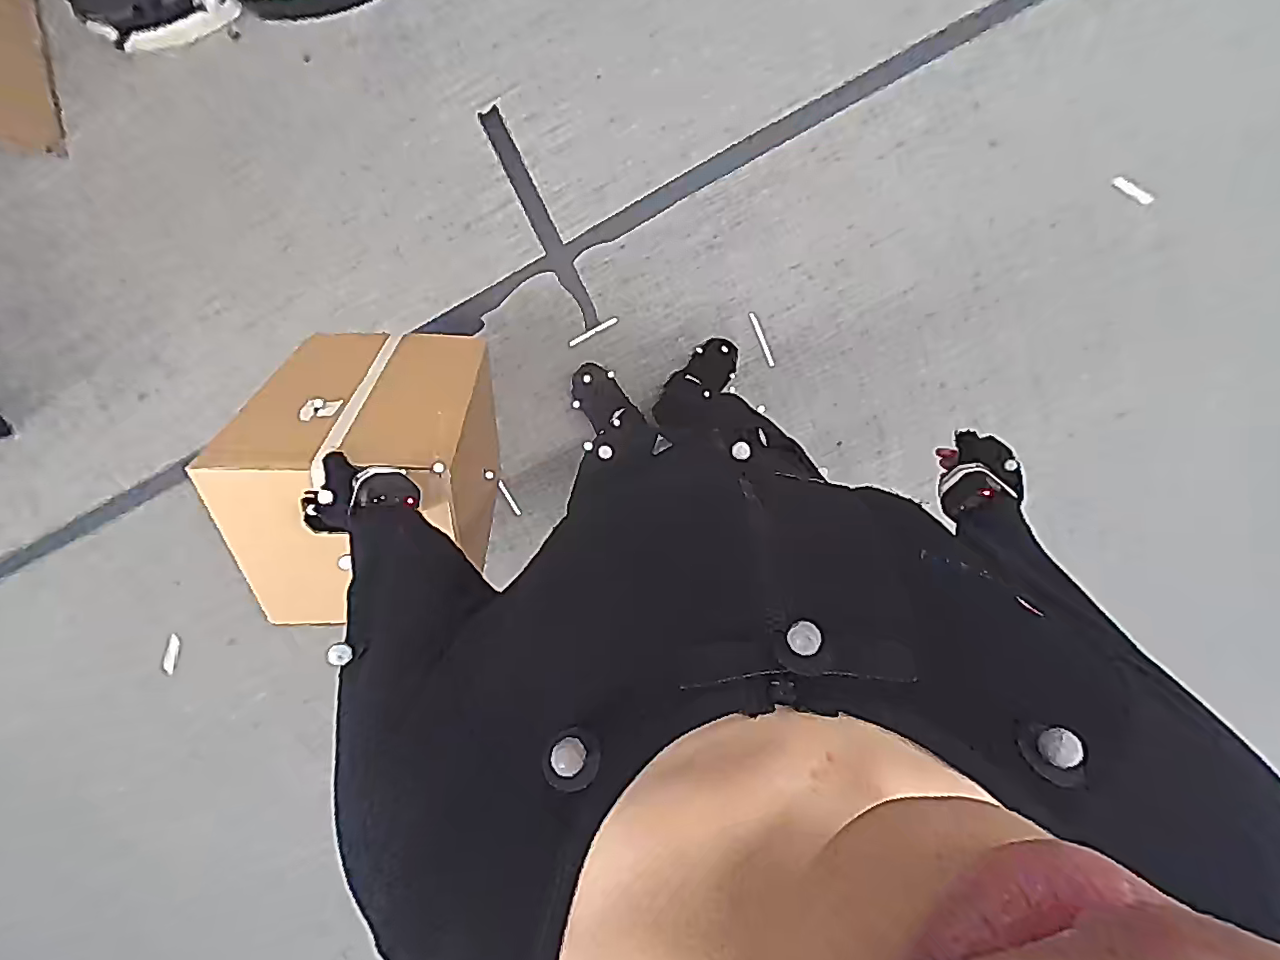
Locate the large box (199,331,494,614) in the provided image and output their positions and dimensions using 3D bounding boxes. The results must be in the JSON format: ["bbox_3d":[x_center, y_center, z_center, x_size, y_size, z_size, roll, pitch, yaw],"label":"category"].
[{"bbox_3d":[-0.438,-0.024,0.940,0.320,0.408,0.320,1,129,-7],"label":"large box"}]
